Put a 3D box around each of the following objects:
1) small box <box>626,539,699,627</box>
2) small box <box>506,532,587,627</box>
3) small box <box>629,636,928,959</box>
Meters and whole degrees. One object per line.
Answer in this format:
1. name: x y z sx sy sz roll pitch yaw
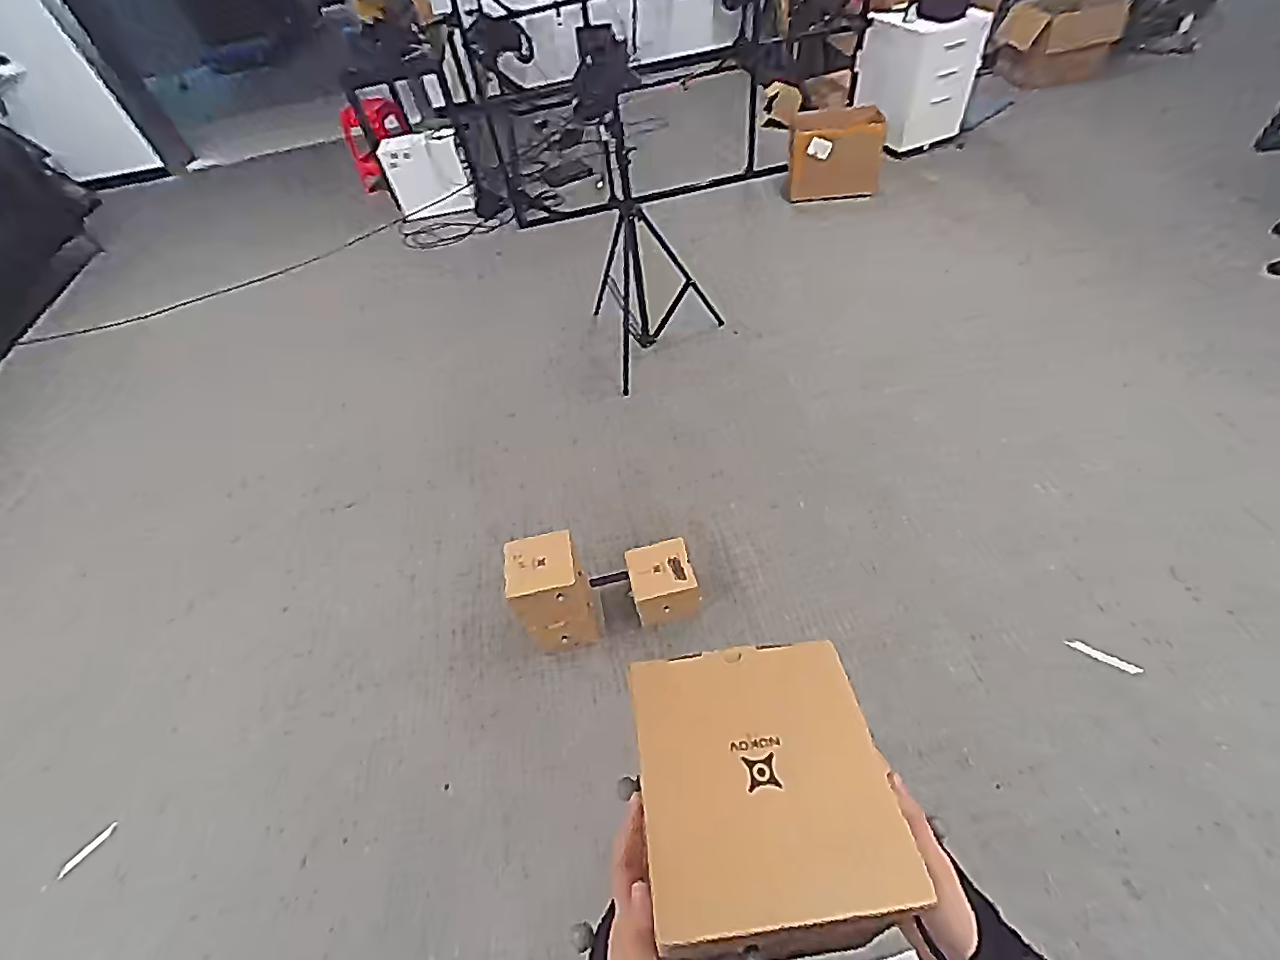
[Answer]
1. small box: 0.068 0.297 1.546 0.179 0.176 0.168 -14 51 -1
2. small box: -0.240 0.262 1.412 0.179 0.176 0.168 -13 49 -1
3. small box: 0.084 0.251 0.424 0.168 0.176 0.179 -6 42 -3
